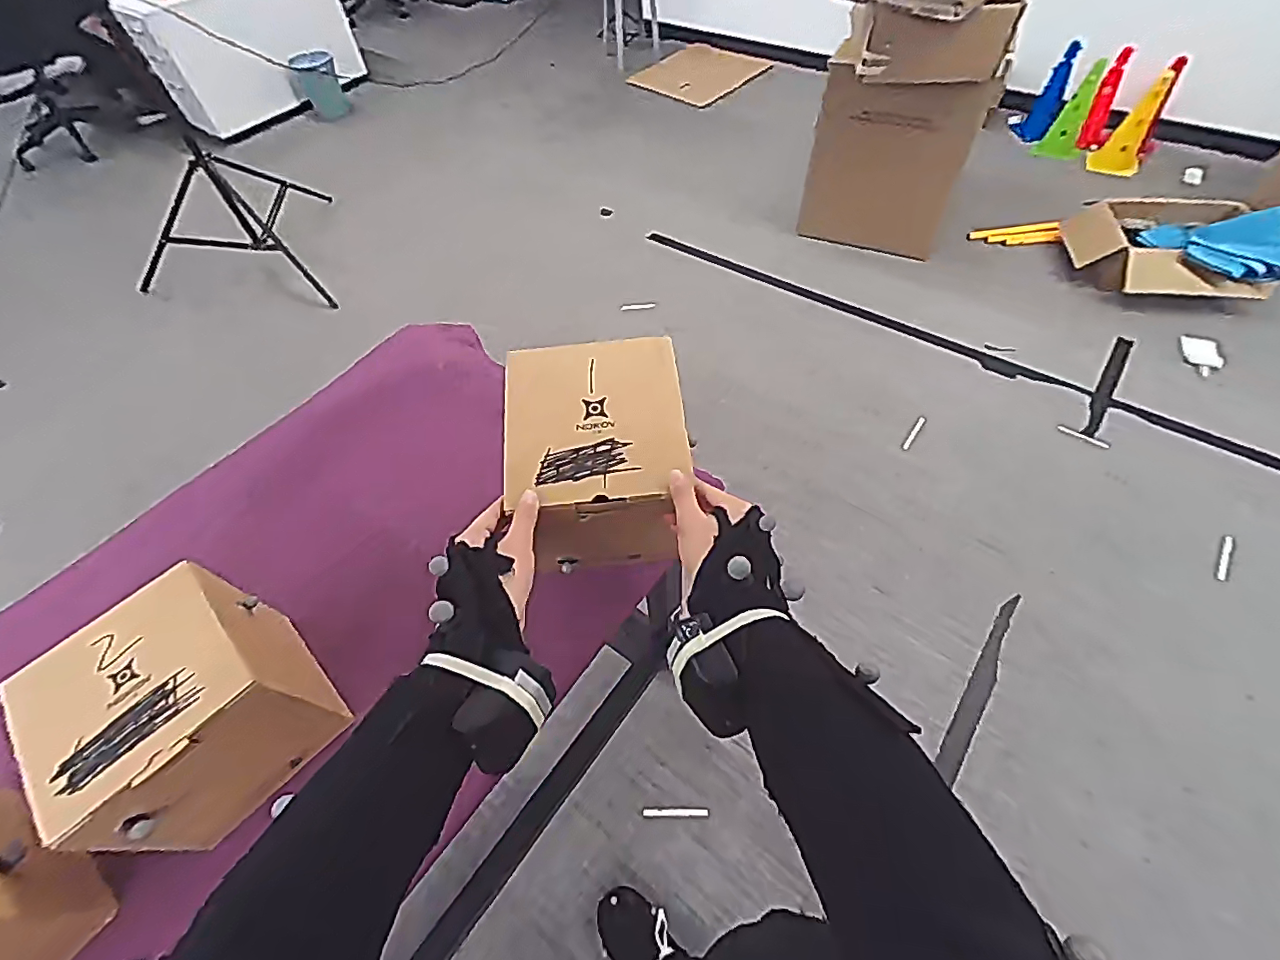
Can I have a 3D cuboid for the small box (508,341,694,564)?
[{"bbox_3d":[-0.036,-0.018,0.570,0.168,0.176,0.179,-6,62,-1],"label":"small box"}]
